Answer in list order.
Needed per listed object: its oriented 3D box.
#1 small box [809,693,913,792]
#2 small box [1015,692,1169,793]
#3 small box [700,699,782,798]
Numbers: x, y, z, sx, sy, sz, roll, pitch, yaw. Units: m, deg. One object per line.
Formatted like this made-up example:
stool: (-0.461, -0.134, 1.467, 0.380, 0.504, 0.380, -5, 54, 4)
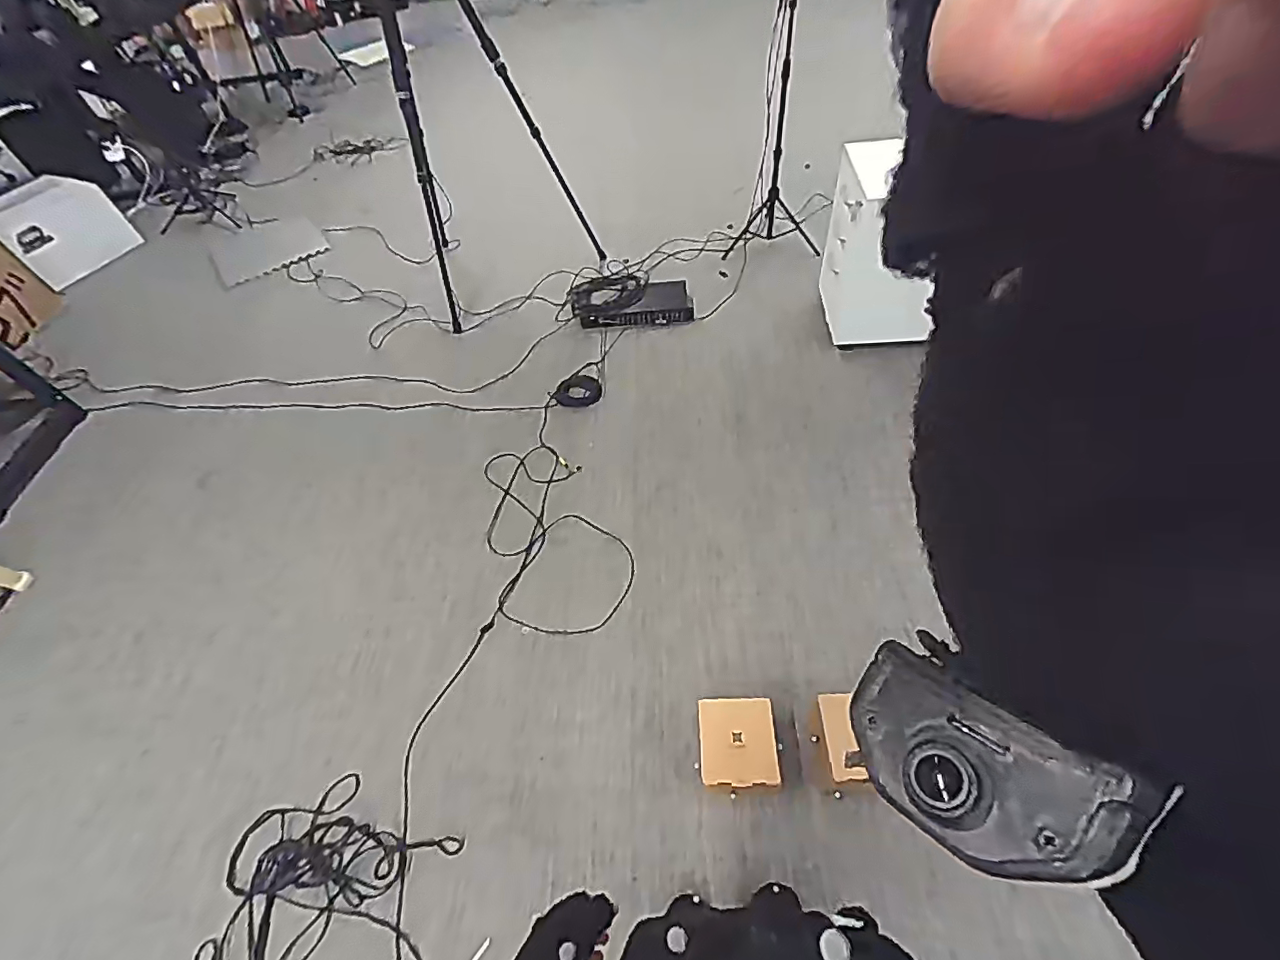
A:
small box: (0.487, 0.596, 1.218, 0.168, 0.176, 0.179, -4, 51, 5)
small box: (0.966, 0.574, 1.177, 0.168, 0.176, 0.179, -2, 53, 5)
small box: (0.222, 0.617, 1.240, 0.168, 0.176, 0.179, -3, 53, 5)
